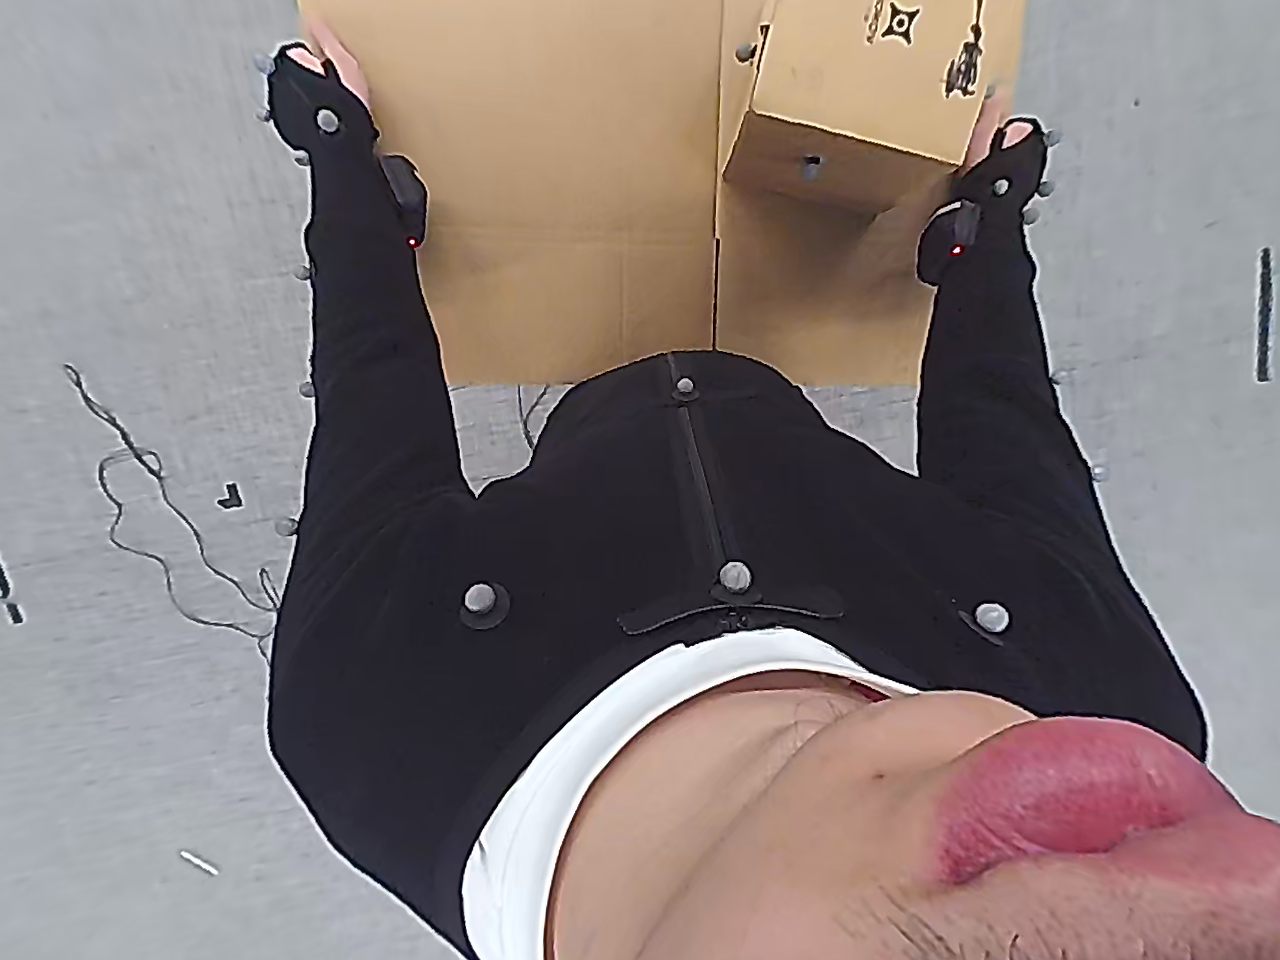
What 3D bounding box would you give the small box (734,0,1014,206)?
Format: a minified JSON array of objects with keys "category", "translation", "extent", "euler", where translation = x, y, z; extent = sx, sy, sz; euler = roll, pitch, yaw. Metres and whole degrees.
[{"category":"small box","translation":[0.192,-0.368,0.486],"extent":[0.179,0.176,0.168],"euler":[13,104,0]}]
